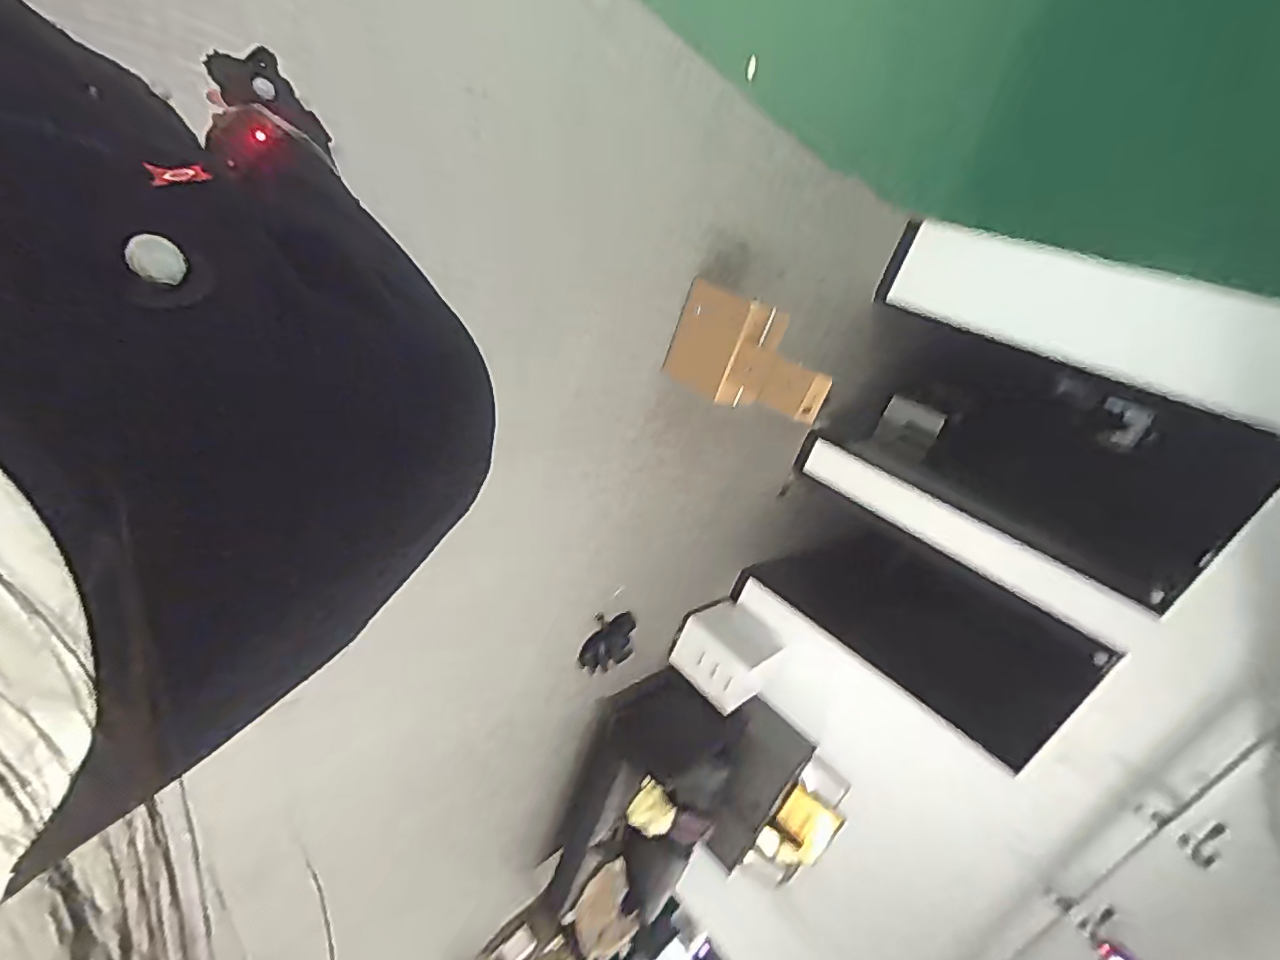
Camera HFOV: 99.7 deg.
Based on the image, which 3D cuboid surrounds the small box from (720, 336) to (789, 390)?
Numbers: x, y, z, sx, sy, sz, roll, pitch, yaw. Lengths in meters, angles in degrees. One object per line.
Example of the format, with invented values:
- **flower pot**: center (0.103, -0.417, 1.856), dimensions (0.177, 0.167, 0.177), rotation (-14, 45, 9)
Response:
- **small box**: center (0.442, -0.451, 2.110), dimensions (0.179, 0.176, 0.168), rotation (-4, 123, -49)

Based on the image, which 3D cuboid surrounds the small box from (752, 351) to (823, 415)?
- **small box**: center (0.545, -0.361, 2.017), dimensions (0.168, 0.176, 0.179), rotation (-1, 119, -51)
